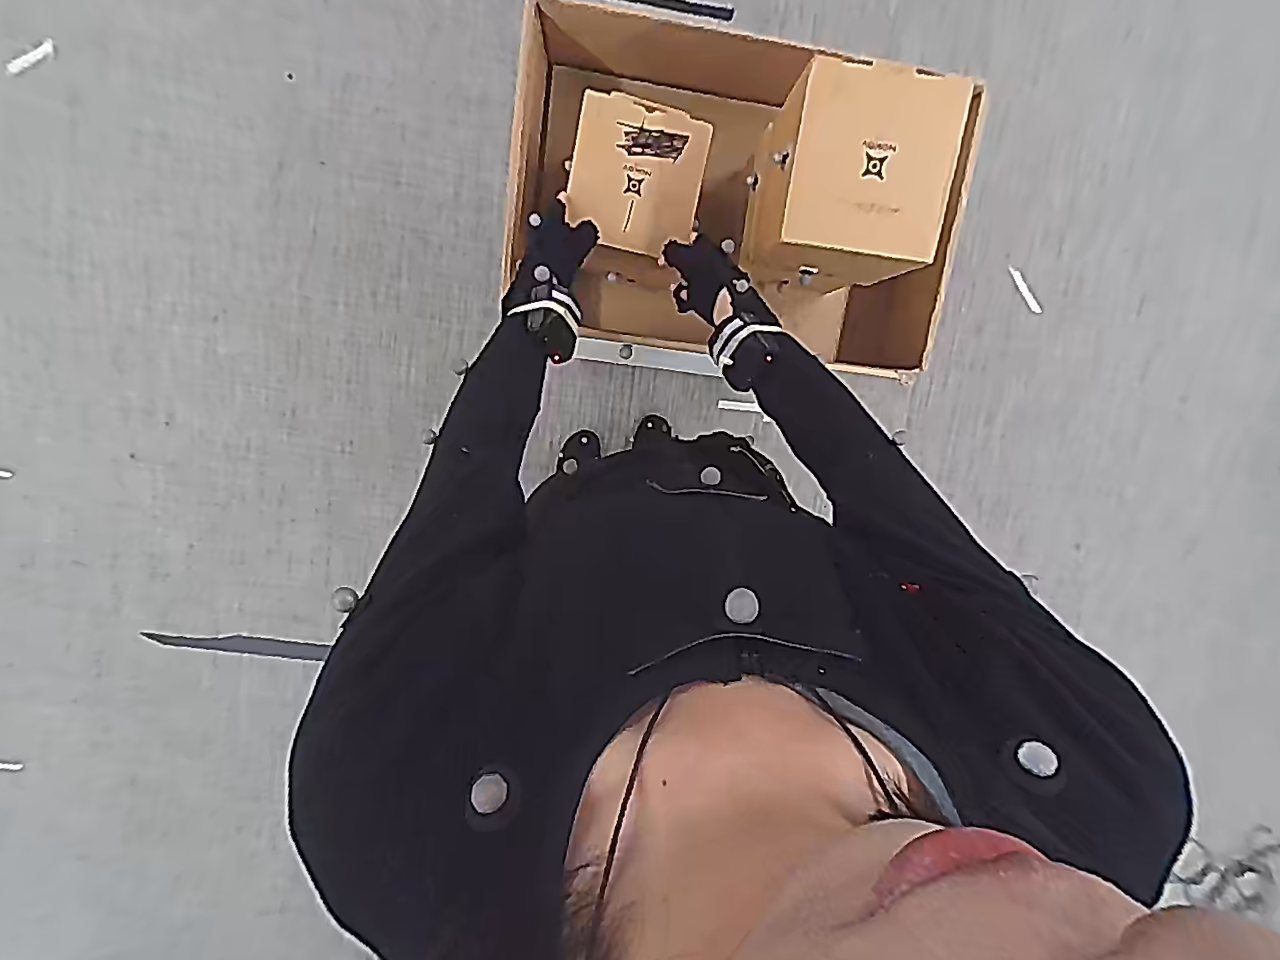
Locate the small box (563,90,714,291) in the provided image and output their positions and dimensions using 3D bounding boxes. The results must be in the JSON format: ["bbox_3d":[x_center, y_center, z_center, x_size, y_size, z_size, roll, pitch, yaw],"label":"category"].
[{"bbox_3d":[-0.010,-0.386,0.754,0.168,0.176,0.179,11,95,-6],"label":"small box"}]

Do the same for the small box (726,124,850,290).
[{"bbox_3d":[0.238,-0.379,0.783,0.179,0.176,0.168,7,101,-4],"label":"small box"}]

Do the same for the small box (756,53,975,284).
[{"bbox_3d":[0.240,-0.340,0.625,0.168,0.176,0.179,7,102,-1],"label":"small box"}]
